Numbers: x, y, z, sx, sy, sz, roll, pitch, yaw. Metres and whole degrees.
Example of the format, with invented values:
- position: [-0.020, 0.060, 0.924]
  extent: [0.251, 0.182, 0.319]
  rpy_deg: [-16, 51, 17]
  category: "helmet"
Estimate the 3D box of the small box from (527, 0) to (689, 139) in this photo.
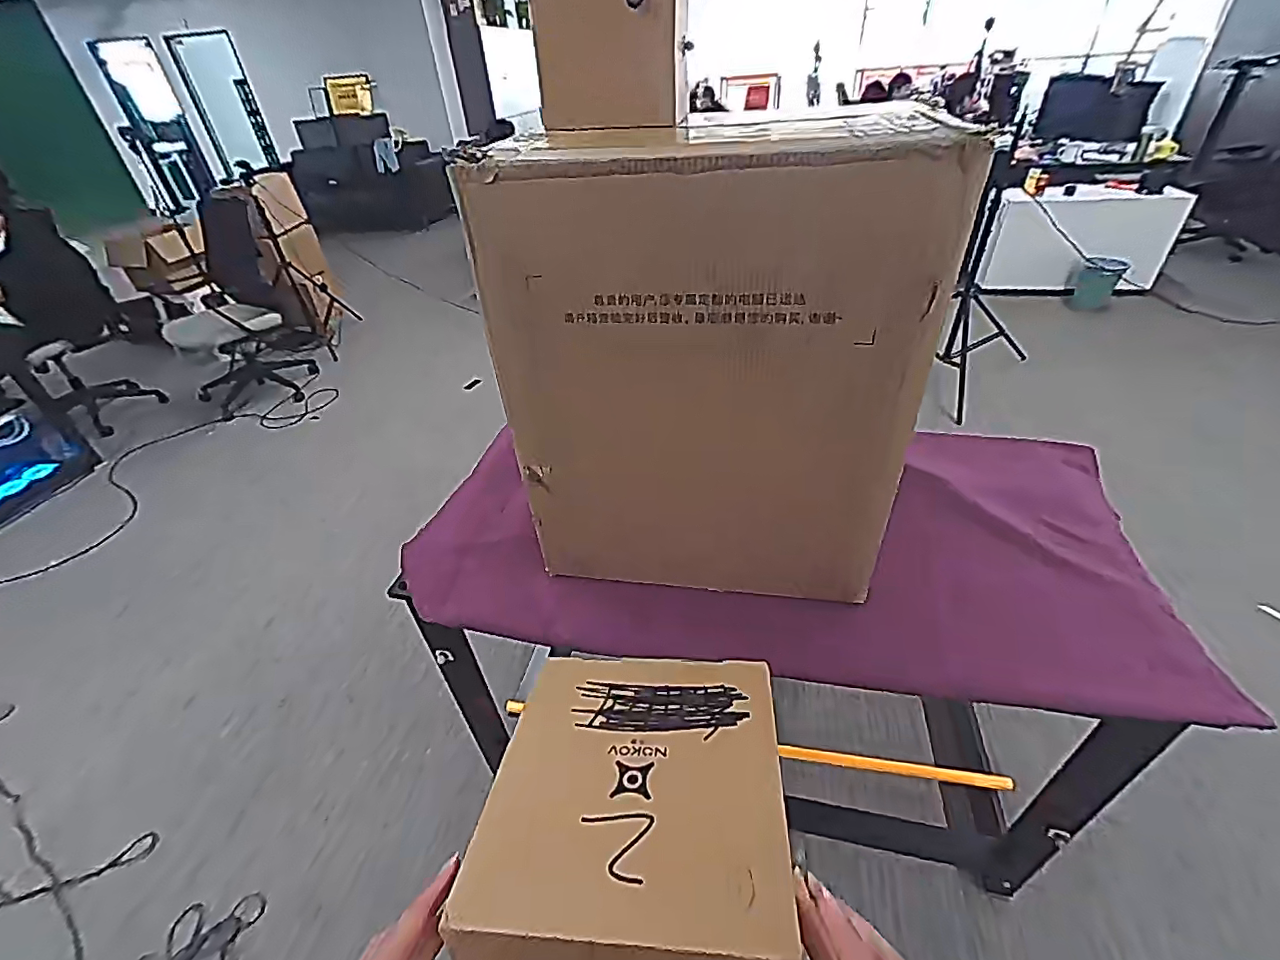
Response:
- position: [-0.030, -0.553, 0.702]
  extent: [0.179, 0.176, 0.168]
  rpy_deg: [4, 37, 9]
  category: "small box"
